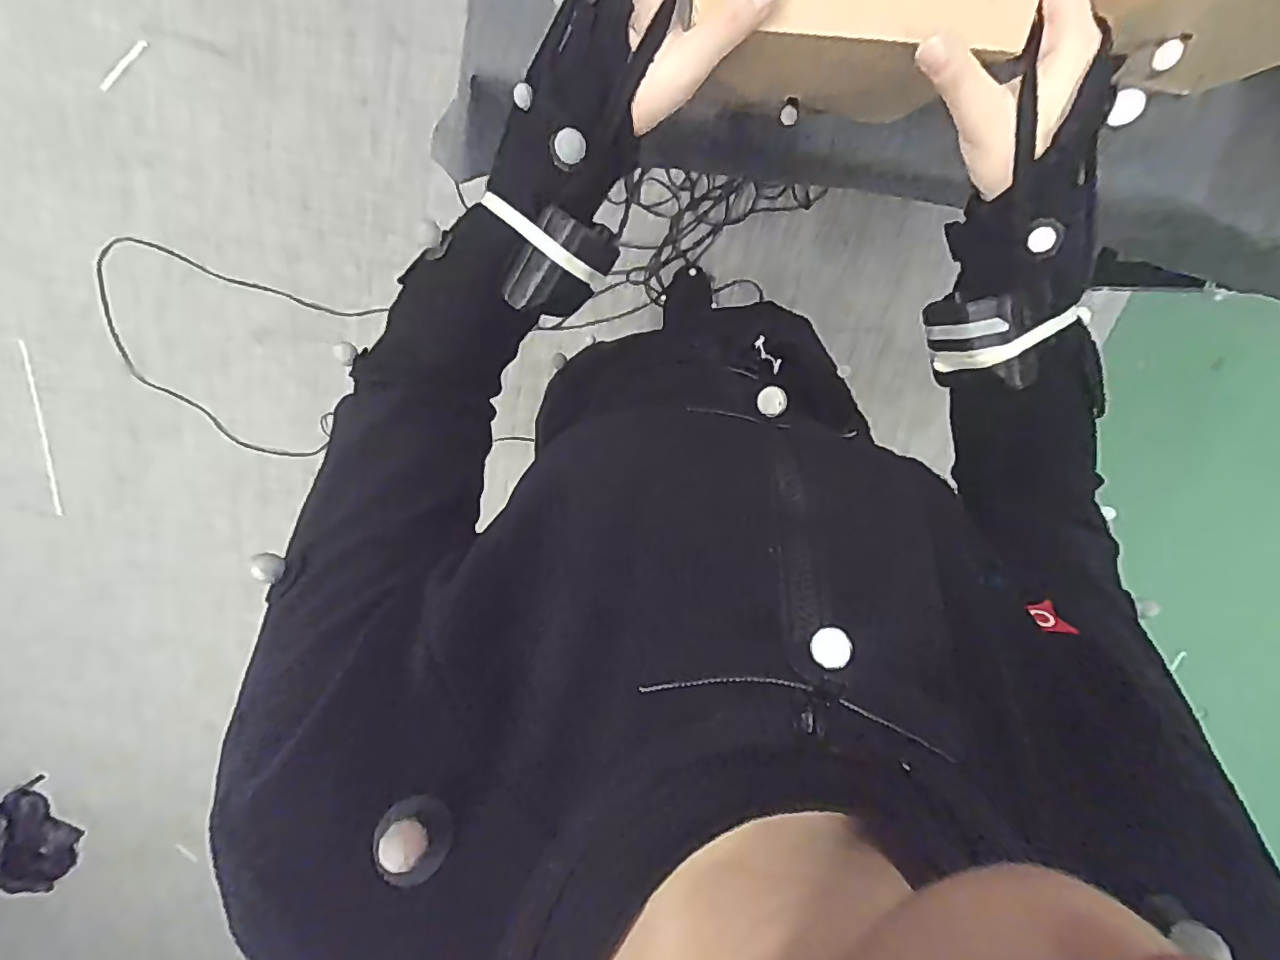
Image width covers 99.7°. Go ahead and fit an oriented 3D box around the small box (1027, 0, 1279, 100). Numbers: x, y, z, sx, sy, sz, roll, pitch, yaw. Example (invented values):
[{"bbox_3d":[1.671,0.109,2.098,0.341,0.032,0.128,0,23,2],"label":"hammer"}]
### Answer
[{"bbox_3d":[0.424,-0.401,0.384,0.168,0.176,0.179,5,109,-1],"label":"small box"}]
